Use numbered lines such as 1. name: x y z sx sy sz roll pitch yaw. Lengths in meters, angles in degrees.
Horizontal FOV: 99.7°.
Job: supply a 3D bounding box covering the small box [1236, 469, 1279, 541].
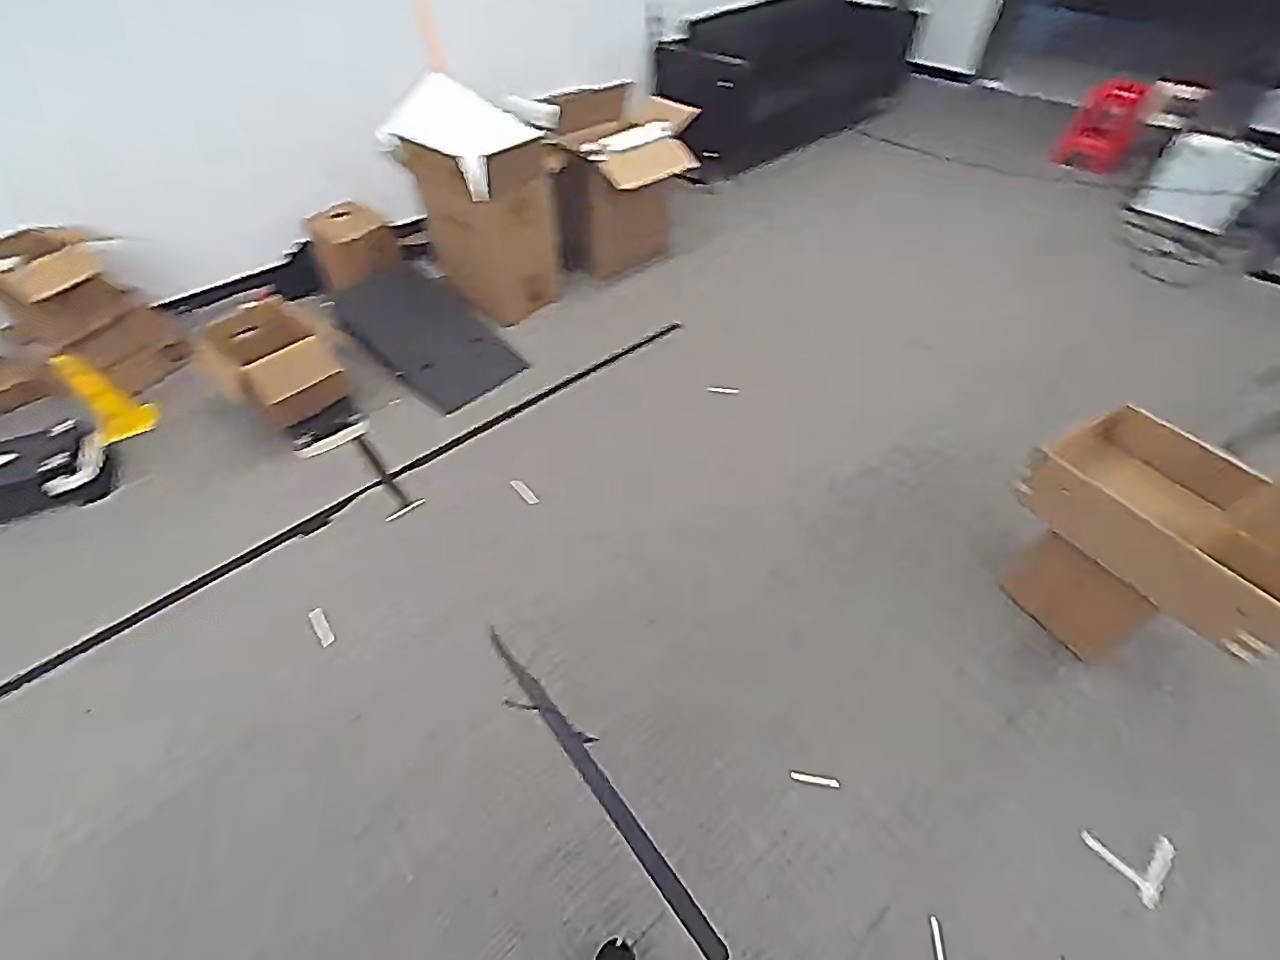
1. small box: 1.451 0.045 1.146 0.168 0.176 0.179 -29 54 -21
